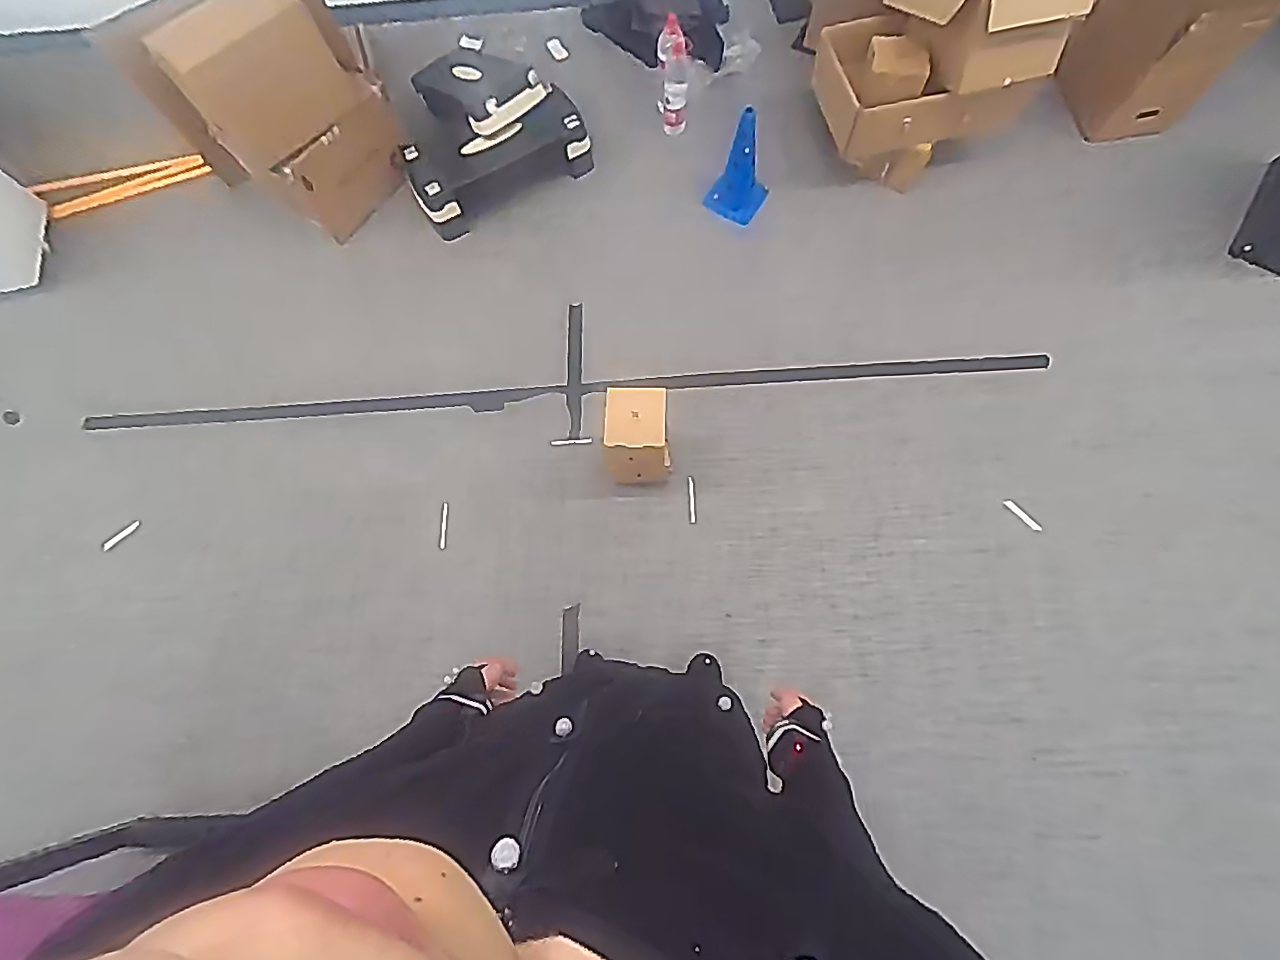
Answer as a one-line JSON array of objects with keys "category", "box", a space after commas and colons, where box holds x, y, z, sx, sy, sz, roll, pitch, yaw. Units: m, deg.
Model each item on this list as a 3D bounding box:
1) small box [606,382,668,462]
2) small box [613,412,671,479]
[{"category": "small box", "box": [-0.005, -0.163, 1.549, 0.168, 0.176, 0.179, 2, 74, 3]}, {"category": "small box", "box": [0.006, -0.106, 1.701, 0.179, 0.176, 0.168, -3, 73, 2]}]
